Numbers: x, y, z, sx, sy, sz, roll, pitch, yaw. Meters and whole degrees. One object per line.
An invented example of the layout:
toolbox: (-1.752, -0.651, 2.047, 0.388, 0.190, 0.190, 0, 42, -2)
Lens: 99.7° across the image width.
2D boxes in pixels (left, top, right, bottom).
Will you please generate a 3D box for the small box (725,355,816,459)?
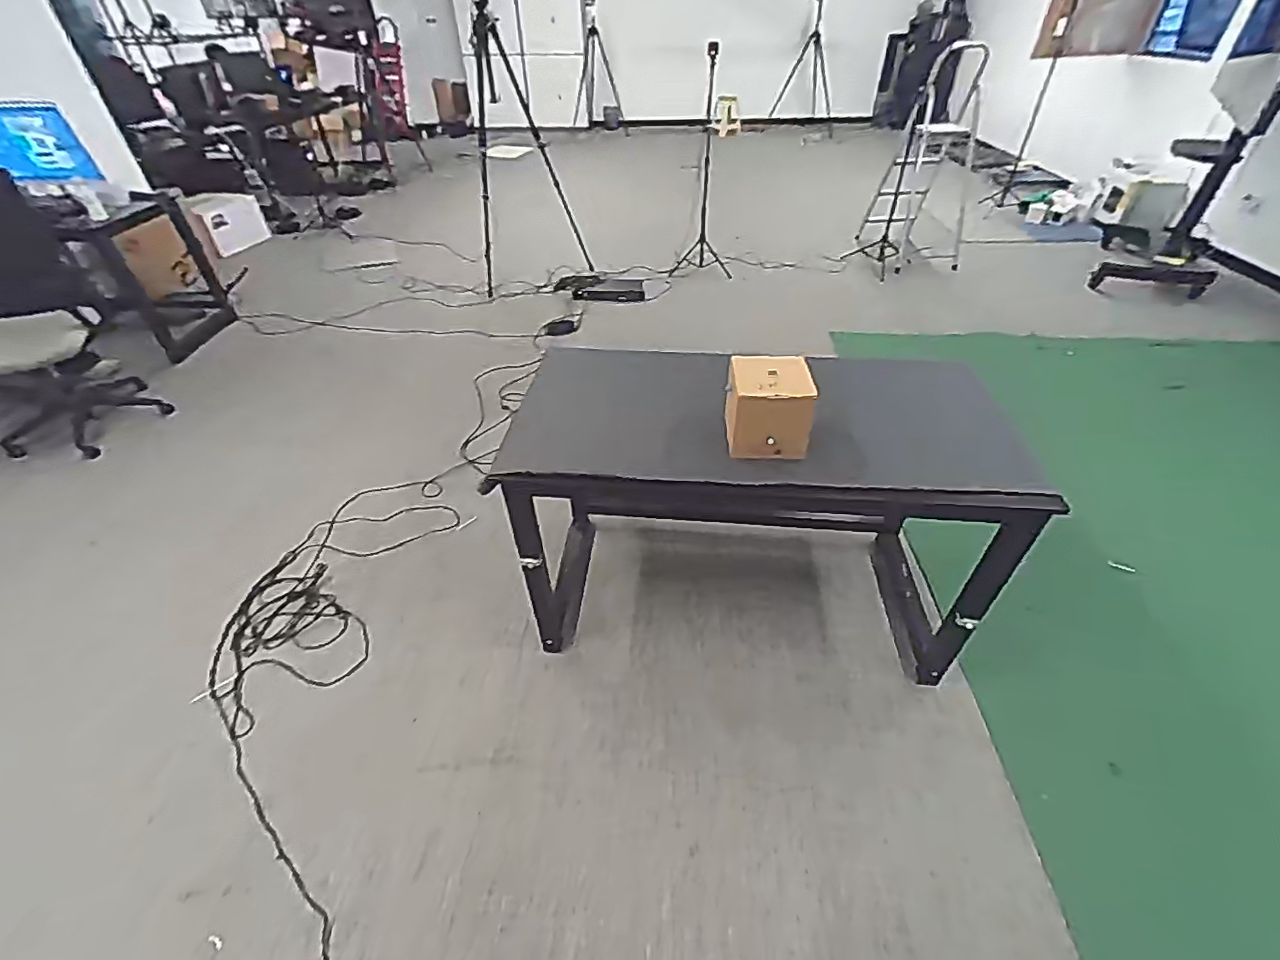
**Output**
small box: (0.285, -0.168, 1.228, 0.168, 0.176, 0.179, 1, 40, 3)
